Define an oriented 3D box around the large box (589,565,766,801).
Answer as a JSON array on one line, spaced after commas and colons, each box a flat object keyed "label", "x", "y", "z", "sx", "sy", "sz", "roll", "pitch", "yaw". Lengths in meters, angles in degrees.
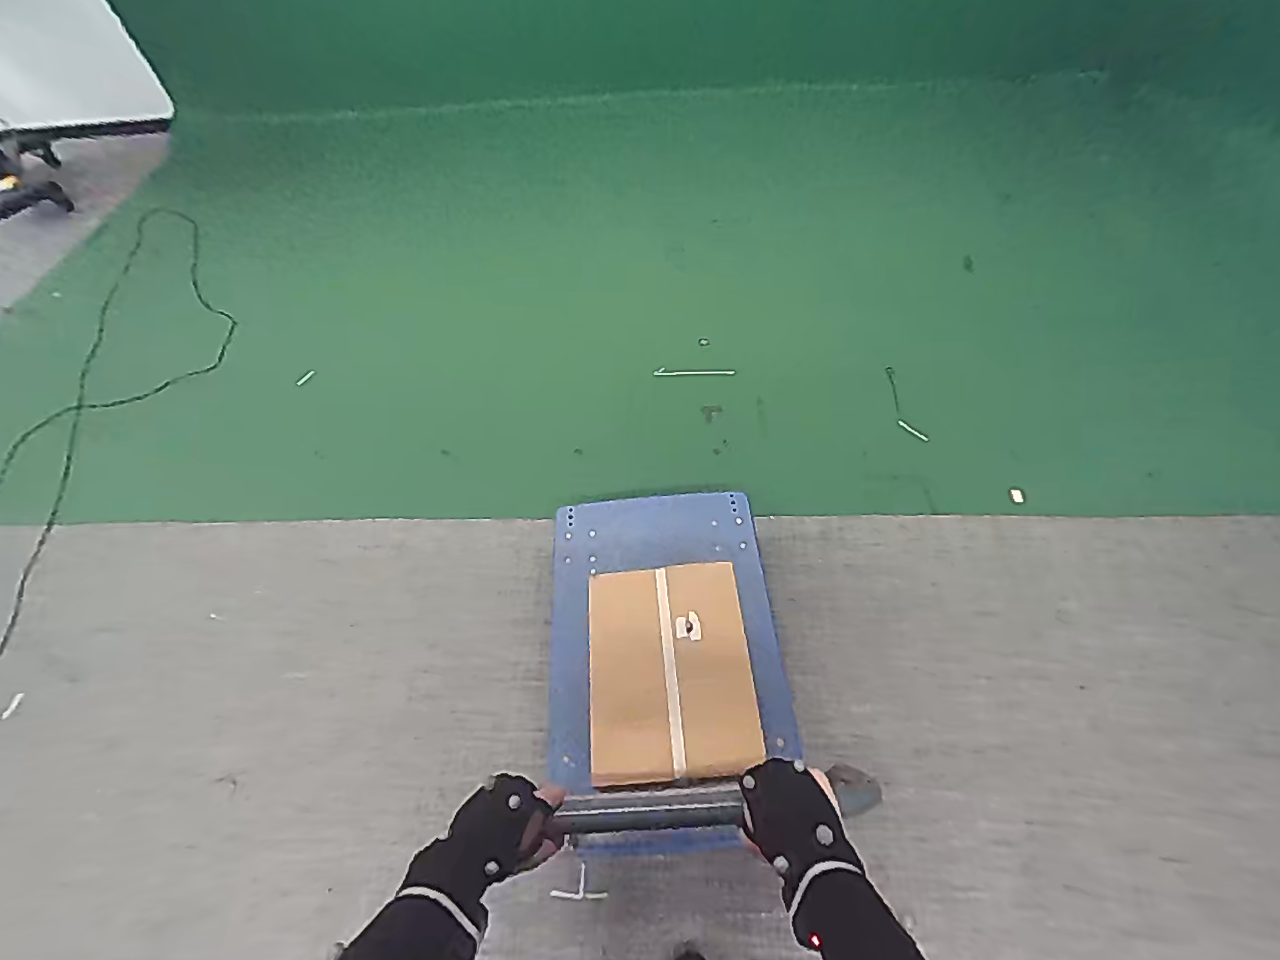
[{"label": "large box", "x": 0.069, "y": 0.446, "z": 1.177, "sx": 0.320, "sy": 0.320, "sz": 0.408, "roll": -5, "pitch": 55, "yaw": 2}]
